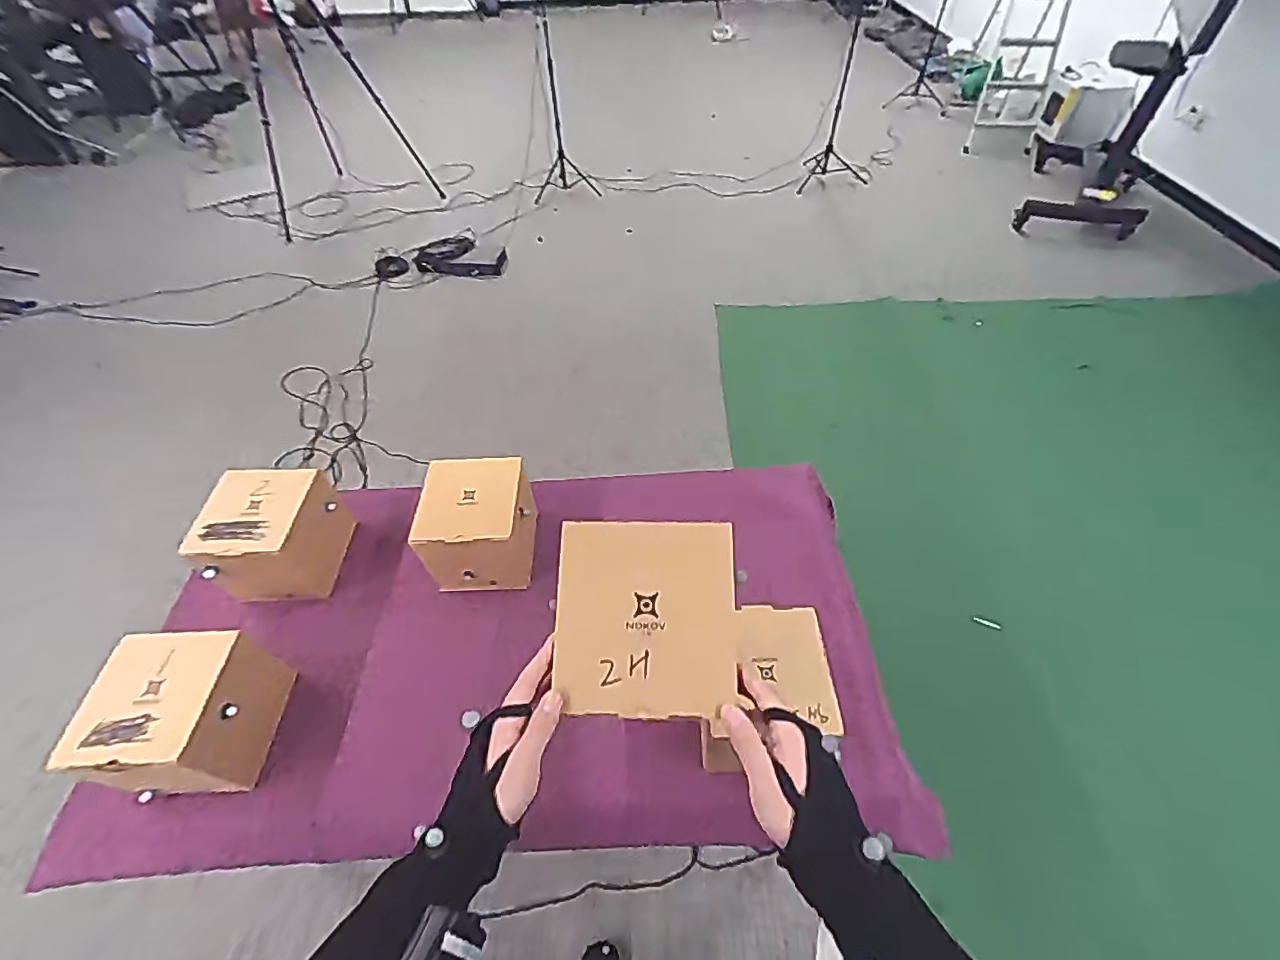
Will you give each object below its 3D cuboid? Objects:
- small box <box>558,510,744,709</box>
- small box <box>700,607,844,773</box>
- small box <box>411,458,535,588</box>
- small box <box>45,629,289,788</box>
[{"bbox_3d":[0.016,0.138,0.571,0.168,0.176,0.179,1,73,4],"label":"small box"},{"bbox_3d":[0.171,0.301,0.776,0.168,0.176,0.179,-2,48,2],"label":"small box"},{"bbox_3d":[-0.287,0.078,0.974,0.168,0.176,0.179,-2,52,-1],"label":"small box"},{"bbox_3d":[-0.645,0.330,0.771,0.168,0.176,0.179,-2,50,-1],"label":"small box"}]
